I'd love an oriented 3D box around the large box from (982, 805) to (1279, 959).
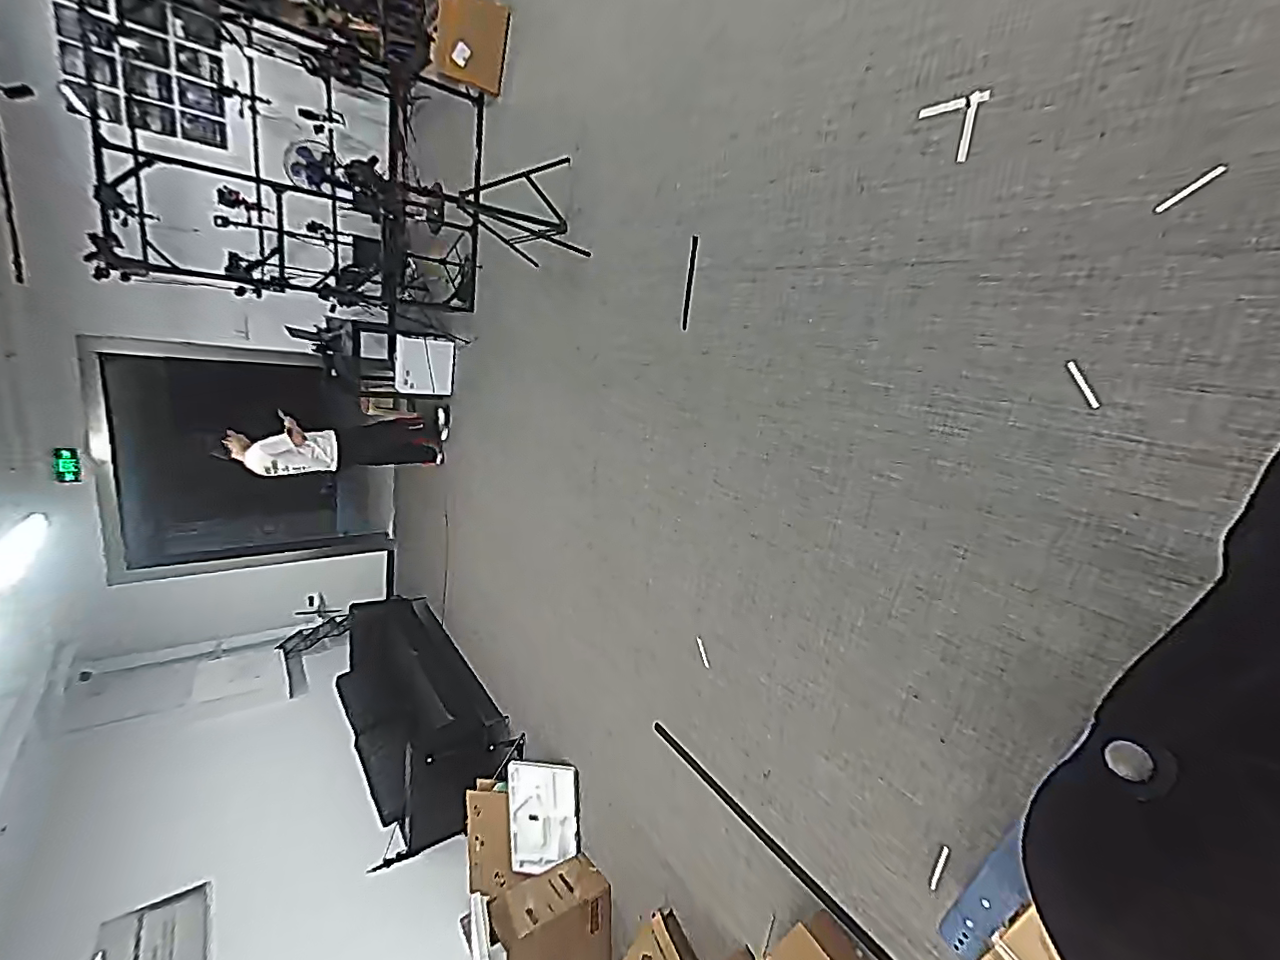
[{"bbox_3d":[0.887,0.872,0.913,0.408,0.320,0.320,39,123,43],"label":"large box"}]
